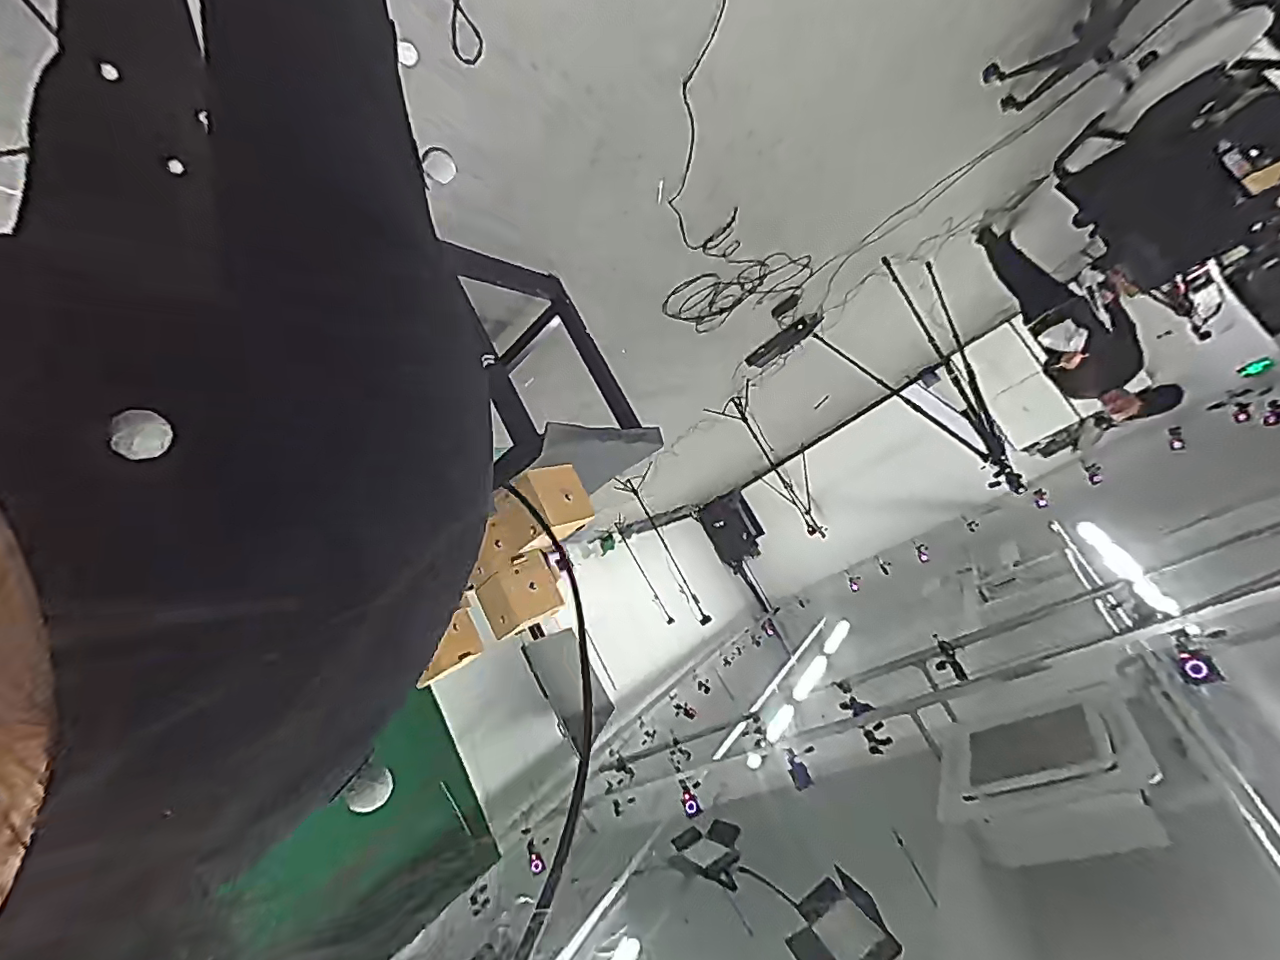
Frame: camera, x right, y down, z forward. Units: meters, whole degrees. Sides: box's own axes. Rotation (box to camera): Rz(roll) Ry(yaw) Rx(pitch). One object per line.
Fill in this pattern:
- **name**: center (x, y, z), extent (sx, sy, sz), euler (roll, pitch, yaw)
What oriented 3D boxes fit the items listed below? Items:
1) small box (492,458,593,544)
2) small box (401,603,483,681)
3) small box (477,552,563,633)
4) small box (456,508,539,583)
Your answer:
- **small box**: center (-0.268, 0.050, 1.473), extent (0.168, 0.176, 0.179), euler (-36, 167, 34)
- **small box**: center (-0.659, 0.528, 1.783), extent (0.179, 0.176, 0.168), euler (-37, 167, 30)
- **small box**: center (-0.370, 0.334, 1.638), extent (0.168, 0.176, 0.179), euler (-17, 164, -45)
- **small box**: center (-0.447, 0.192, 1.673), extent (0.168, 0.176, 0.179), euler (-17, 165, -42)
